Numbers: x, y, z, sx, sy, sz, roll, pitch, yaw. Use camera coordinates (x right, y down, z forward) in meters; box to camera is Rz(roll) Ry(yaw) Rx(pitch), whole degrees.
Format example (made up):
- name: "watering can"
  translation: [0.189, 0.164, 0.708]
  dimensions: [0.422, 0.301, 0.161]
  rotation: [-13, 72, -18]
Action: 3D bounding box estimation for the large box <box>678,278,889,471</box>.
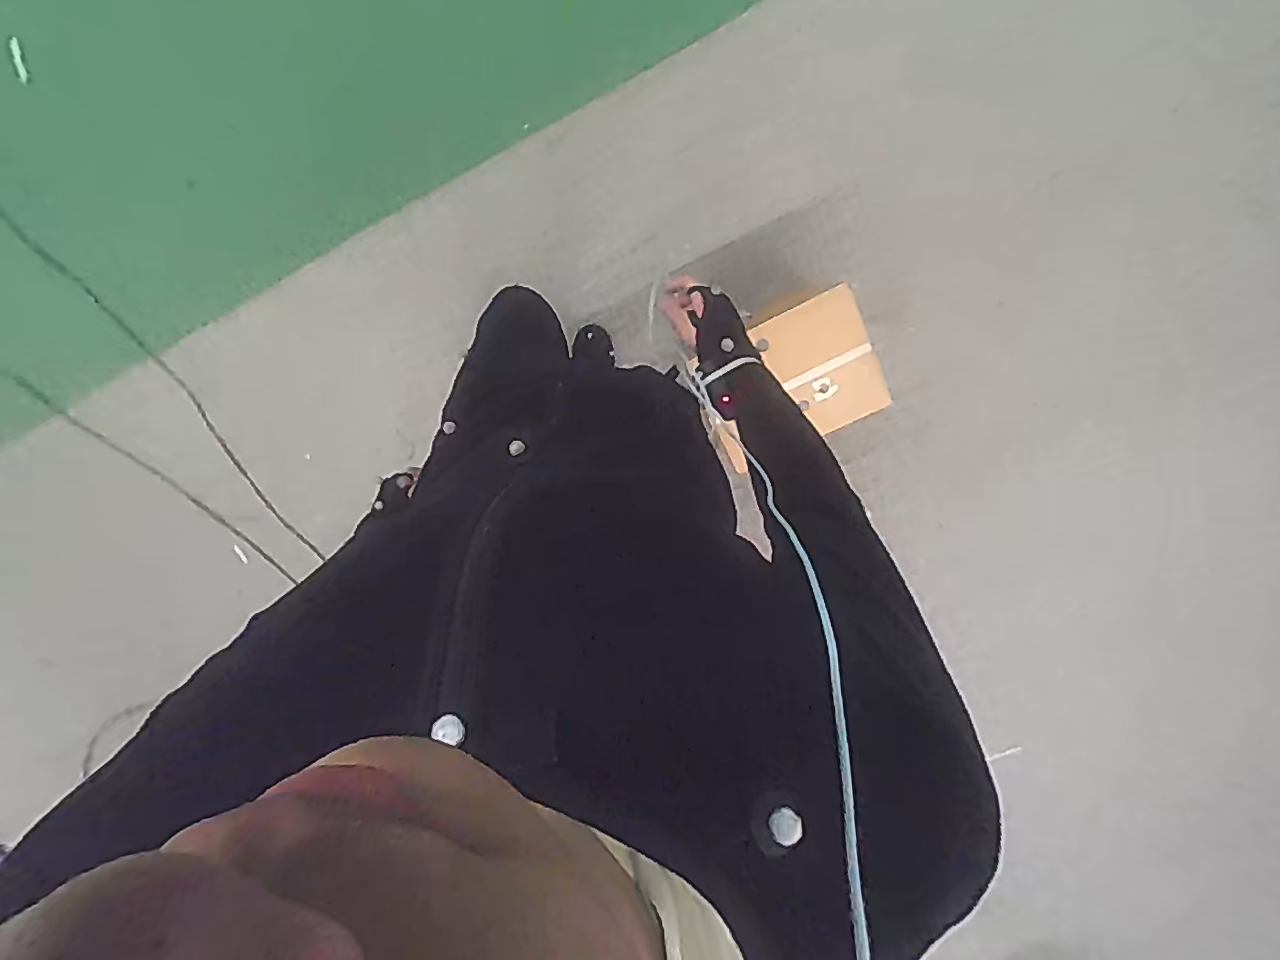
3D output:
- name: "large box"
  translation: [0.348, -0.279, 1.409]
  dimensions: [0.408, 0.320, 0.320]
  rotation: [-26, 107, 8]
